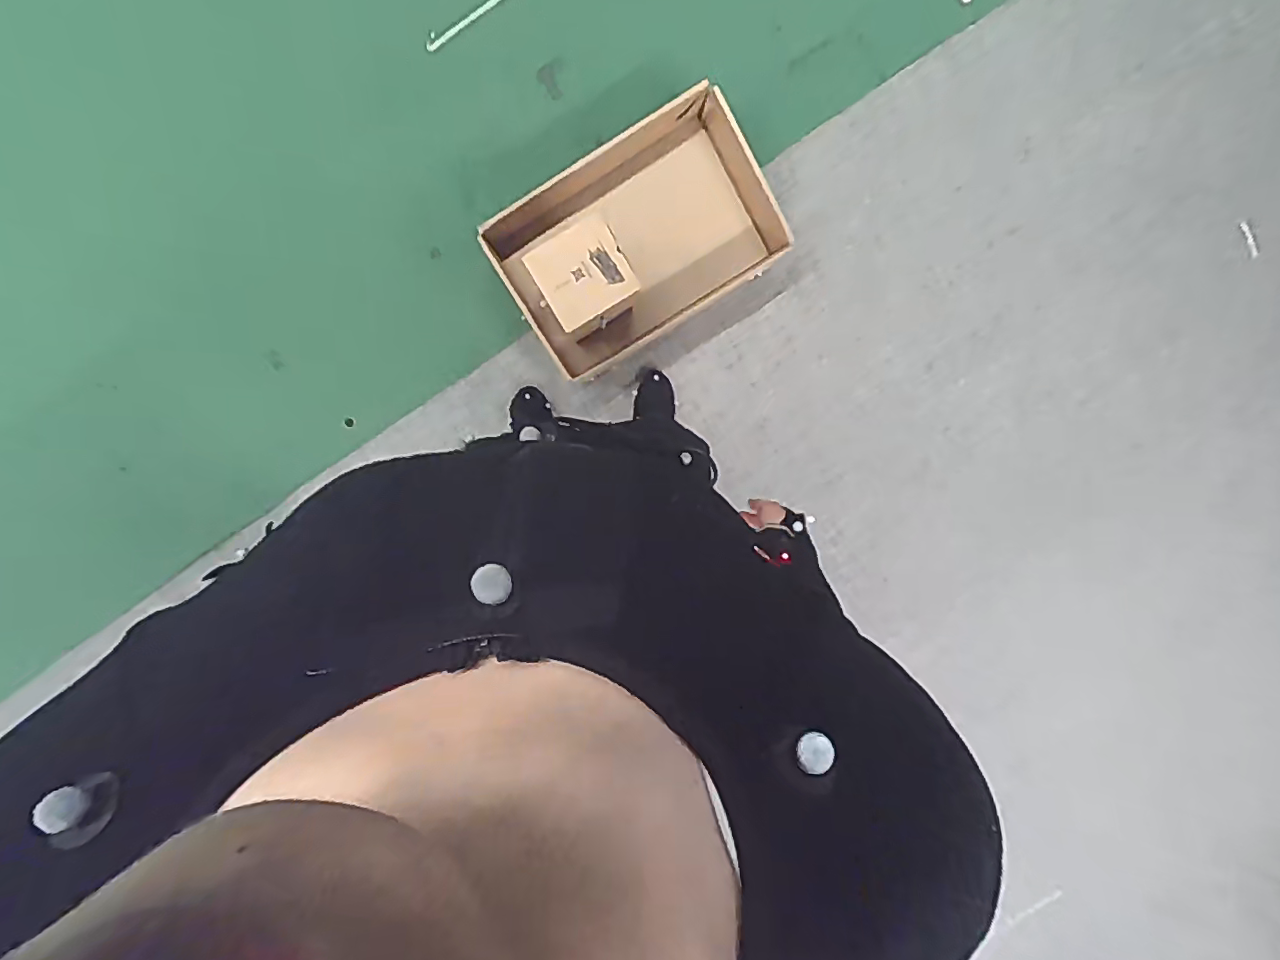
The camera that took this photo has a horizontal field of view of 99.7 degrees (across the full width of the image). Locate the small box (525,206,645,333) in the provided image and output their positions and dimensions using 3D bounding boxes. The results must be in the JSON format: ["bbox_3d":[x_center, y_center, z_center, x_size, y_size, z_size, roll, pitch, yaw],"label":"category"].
[{"bbox_3d":[-0.110,-0.416,1.097,0.179,0.176,0.168,-31,102,3],"label":"small box"}]
